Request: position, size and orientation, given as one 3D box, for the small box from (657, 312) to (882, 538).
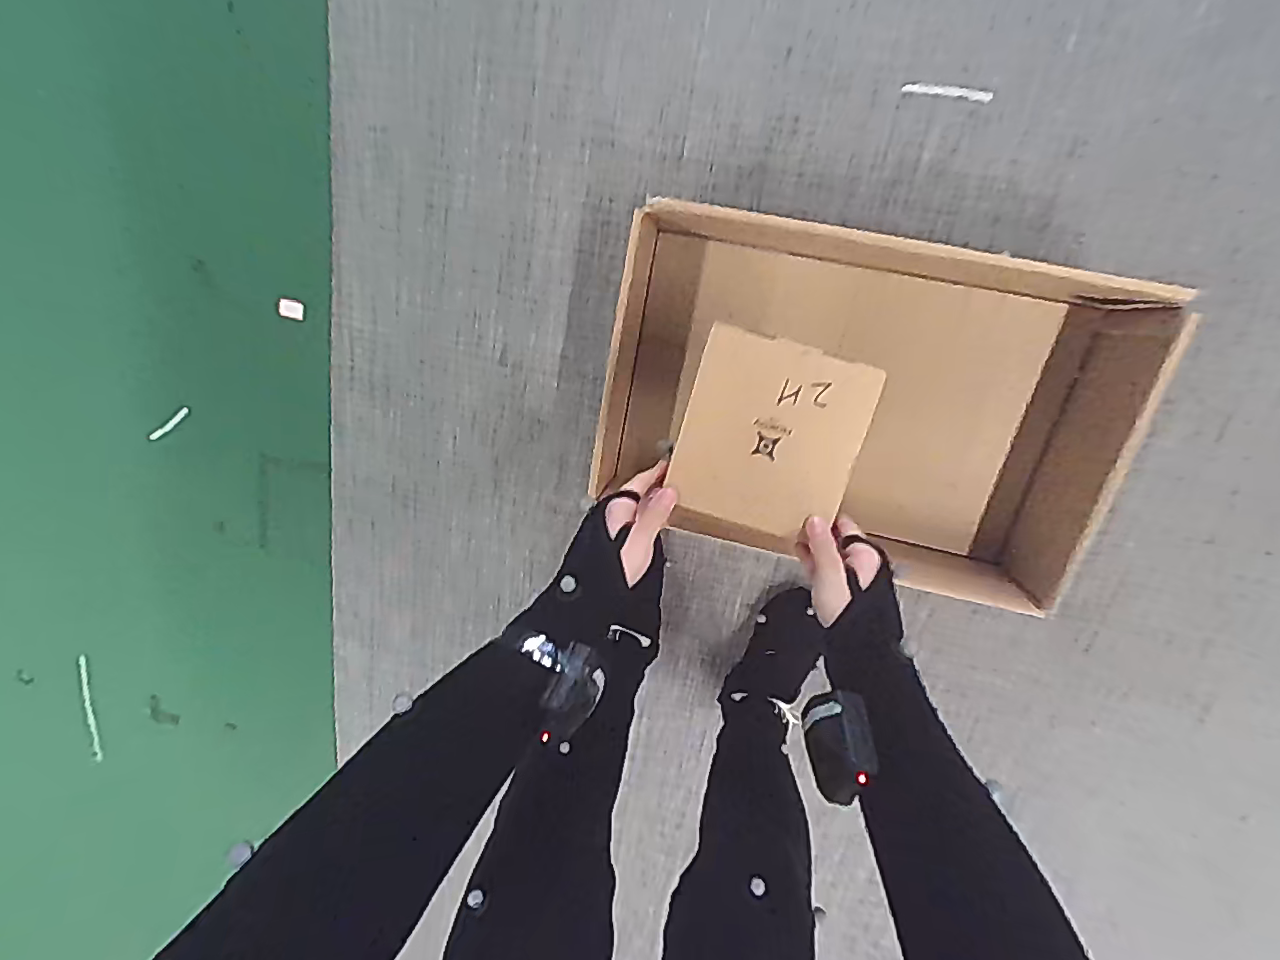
[{"bbox_3d":[0.125,-0.062,0.582,0.168,0.176,0.179,17,100,1],"label":"small box"}]
